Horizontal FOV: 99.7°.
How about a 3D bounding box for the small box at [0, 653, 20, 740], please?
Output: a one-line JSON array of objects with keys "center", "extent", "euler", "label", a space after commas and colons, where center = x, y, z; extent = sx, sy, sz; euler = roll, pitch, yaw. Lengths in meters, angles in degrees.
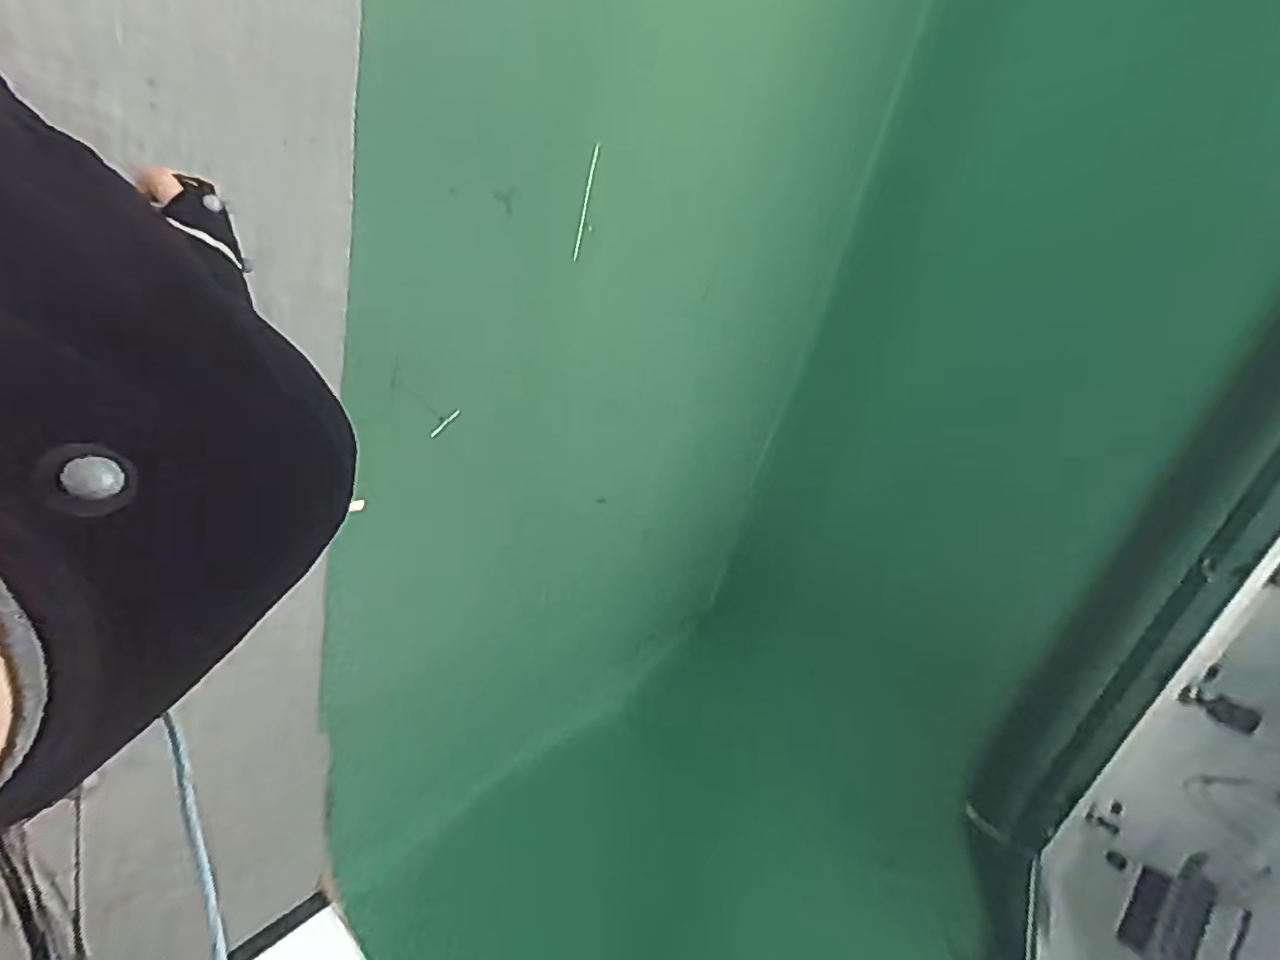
[{"center": [-1.345, 0.419, 1.034], "extent": [0.179, 0.176, 0.168], "euler": [-17, 128, -53], "label": "small box"}]
